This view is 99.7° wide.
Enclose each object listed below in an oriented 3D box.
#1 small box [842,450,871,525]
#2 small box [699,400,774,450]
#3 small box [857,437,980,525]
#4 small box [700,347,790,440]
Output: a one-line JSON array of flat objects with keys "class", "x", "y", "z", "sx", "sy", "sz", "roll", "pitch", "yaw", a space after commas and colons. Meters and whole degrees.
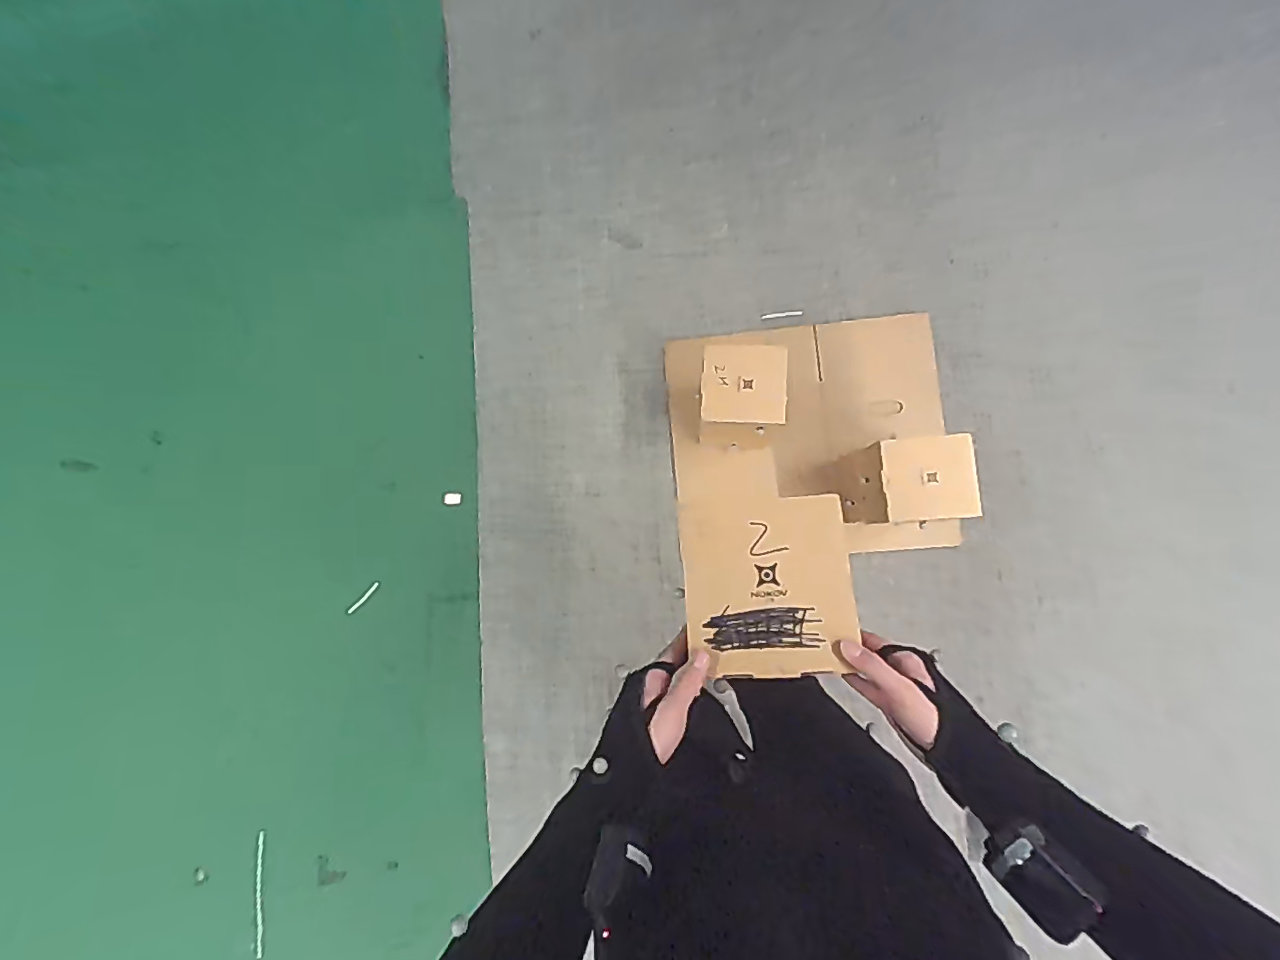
[{"class": "small box", "x": 0.593, "y": 0.019, "z": 1.296, "sx": 0.179, "sy": 0.176, "sz": 0.168, "roll": -4, "pitch": 83, "yaw": 7}, {"class": "small box", "x": 0.241, "y": -0.172, "z": 1.357, "sx": 0.179, "sy": 0.176, "sz": 0.168, "roll": 4, "pitch": 83, "yaw": 7}, {"class": "small box", "x": 0.574, "y": 0.008, "z": 1.136, "sx": 0.179, "sy": 0.176, "sz": 0.168, "roll": -5, "pitch": 84, "yaw": 8}, {"class": "small box", "x": 0.225, "y": -0.185, "z": 1.193, "sx": 0.179, "sy": 0.176, "sz": 0.168, "roll": 3, "pitch": 83, "yaw": 7}]
